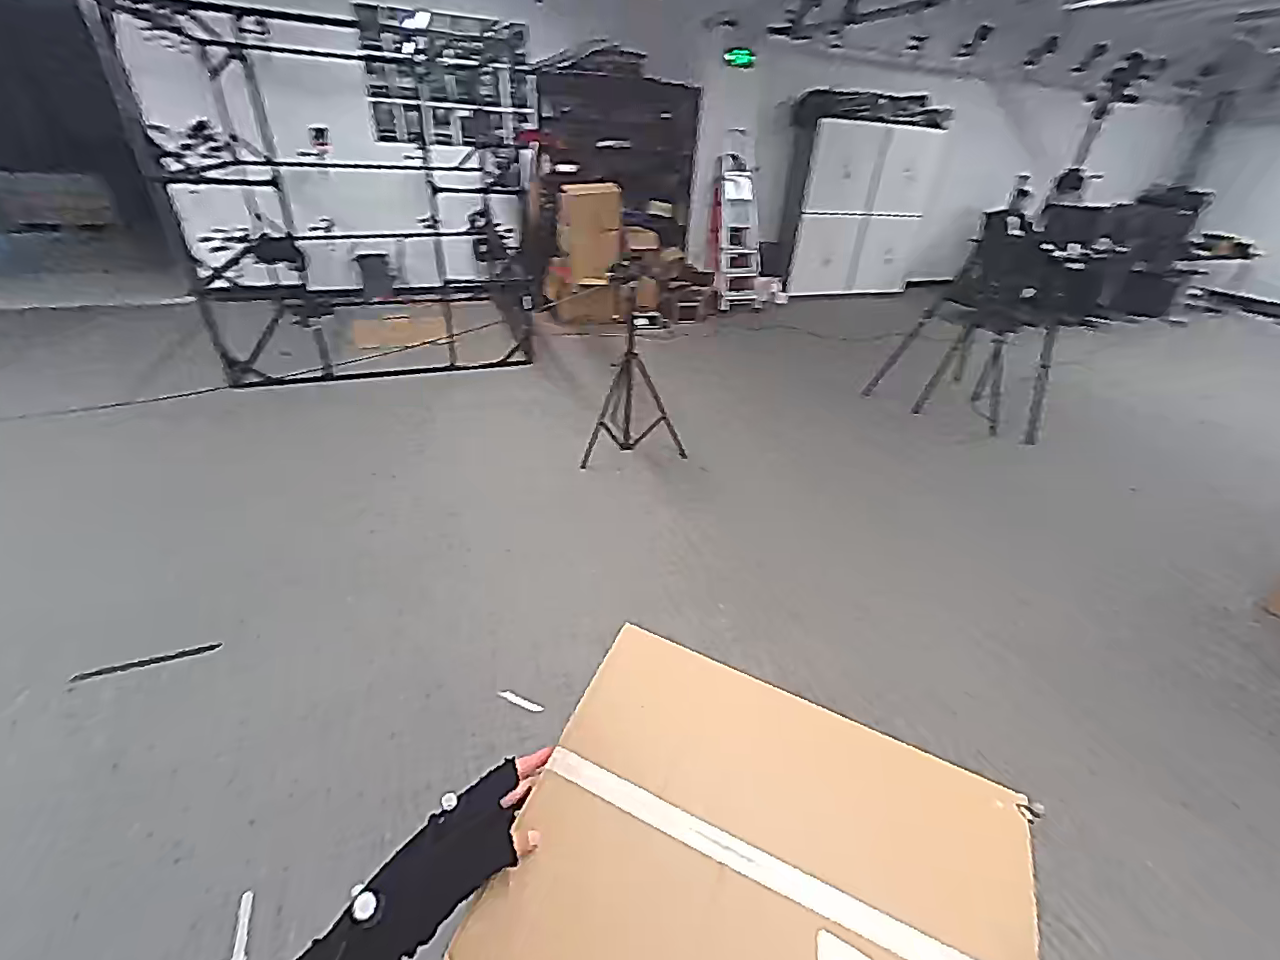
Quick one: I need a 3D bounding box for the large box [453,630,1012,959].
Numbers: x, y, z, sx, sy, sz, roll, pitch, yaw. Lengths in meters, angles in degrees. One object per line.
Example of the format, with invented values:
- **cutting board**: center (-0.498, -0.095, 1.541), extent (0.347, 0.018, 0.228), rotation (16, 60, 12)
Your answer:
- **large box**: center (0.086, 0.426, 0.555), extent (0.408, 0.320, 0.320), rotation (19, 45, 14)
